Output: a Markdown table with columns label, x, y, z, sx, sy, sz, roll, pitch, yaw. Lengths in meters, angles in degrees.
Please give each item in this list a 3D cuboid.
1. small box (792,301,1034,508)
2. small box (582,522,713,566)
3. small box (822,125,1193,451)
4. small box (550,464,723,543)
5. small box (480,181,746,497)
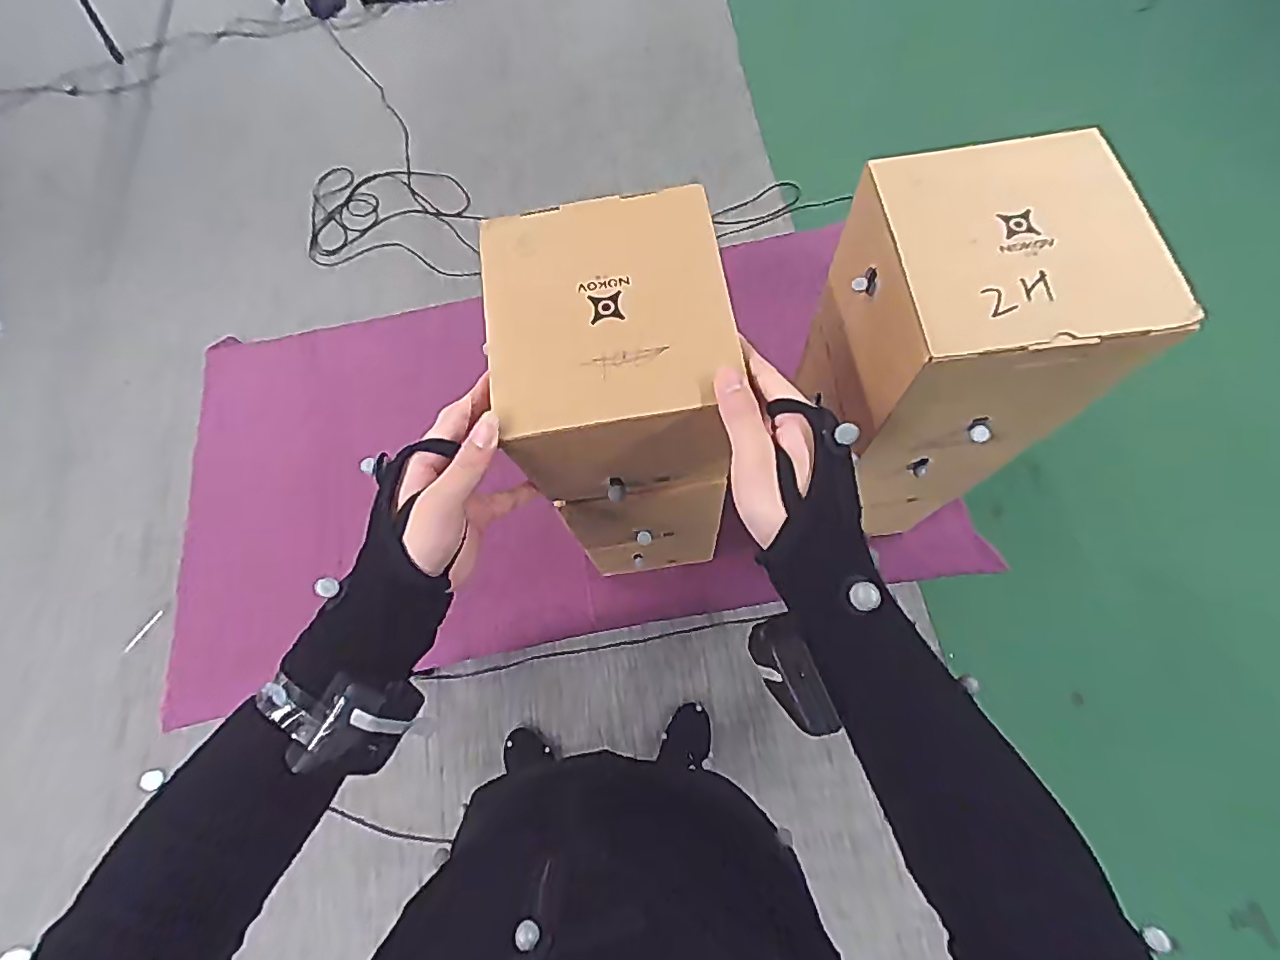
| label | x | y | z | sx | sy | sz | roll | pitch | yaw |
| --- | --- | --- | --- | --- | --- | --- | --- | --- | --- |
| small box | 0.274 | -0.083 | 0.594 | 0.168 | 0.176 | 0.179 | -7 | 69 | 4 |
| small box | 0.008 | 0.017 | 0.760 | 0.168 | 0.176 | 0.179 | -9 | 68 | 2 |
| small box | 0.260 | -0.141 | 0.440 | 0.168 | 0.176 | 0.179 | -6 | 70 | 4 |
| small box | -0.006 | -0.042 | 0.607 | 0.168 | 0.176 | 0.179 | -8 | 69 | 2 |
| small box | -0.020 | -0.099 | 0.439 | 0.168 | 0.176 | 0.179 | -9 | 74 | 2 |
